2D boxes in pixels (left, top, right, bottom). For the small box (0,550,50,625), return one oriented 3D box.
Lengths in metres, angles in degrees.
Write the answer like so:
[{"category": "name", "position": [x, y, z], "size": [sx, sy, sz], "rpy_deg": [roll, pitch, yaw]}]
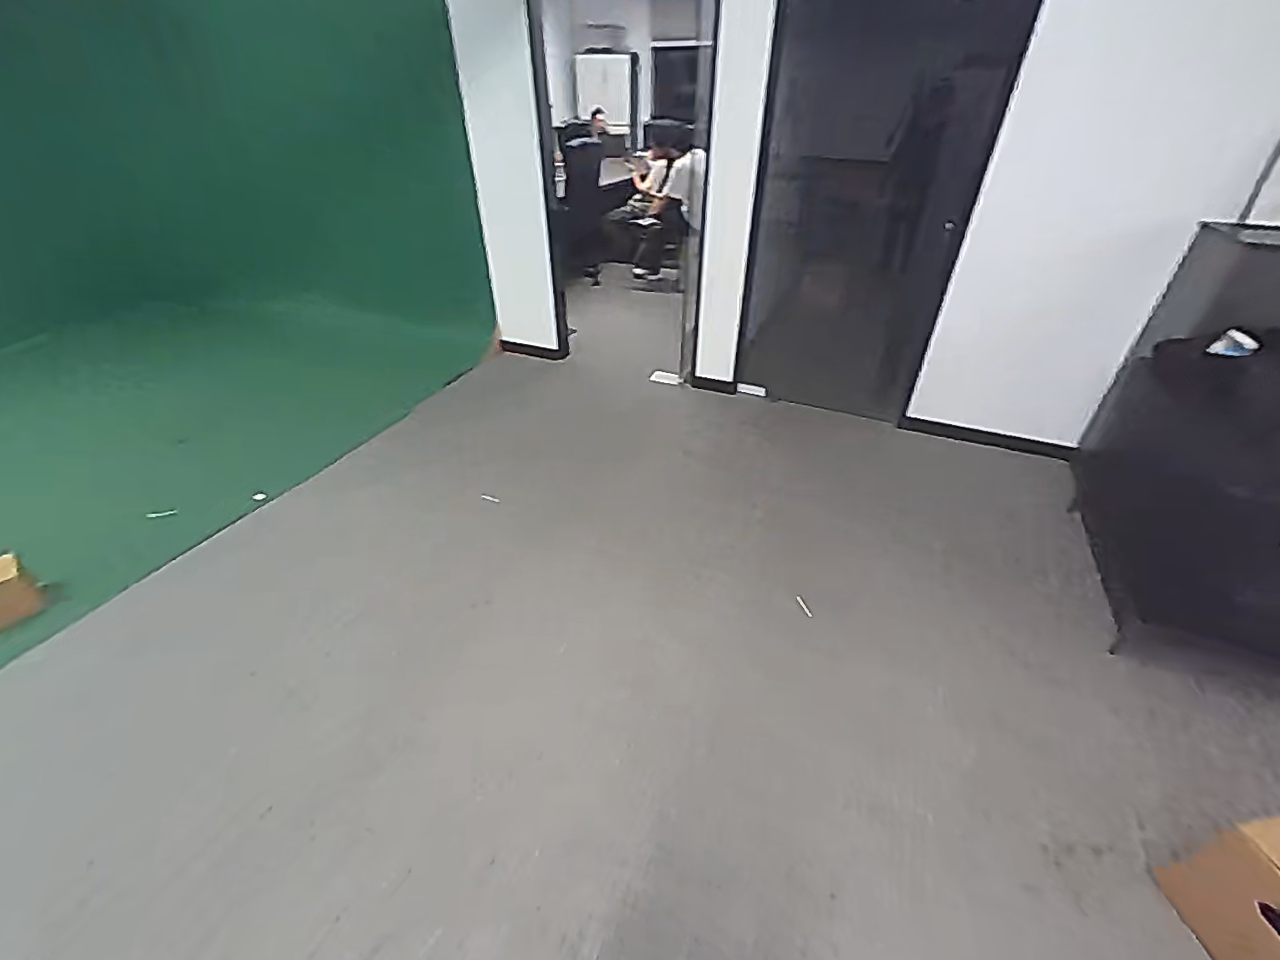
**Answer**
[{"category": "small box", "position": [-2.212, 0.381, 1.866], "size": [0.168, 0.176, 0.179], "rpy_deg": [30, 45, 33]}]
